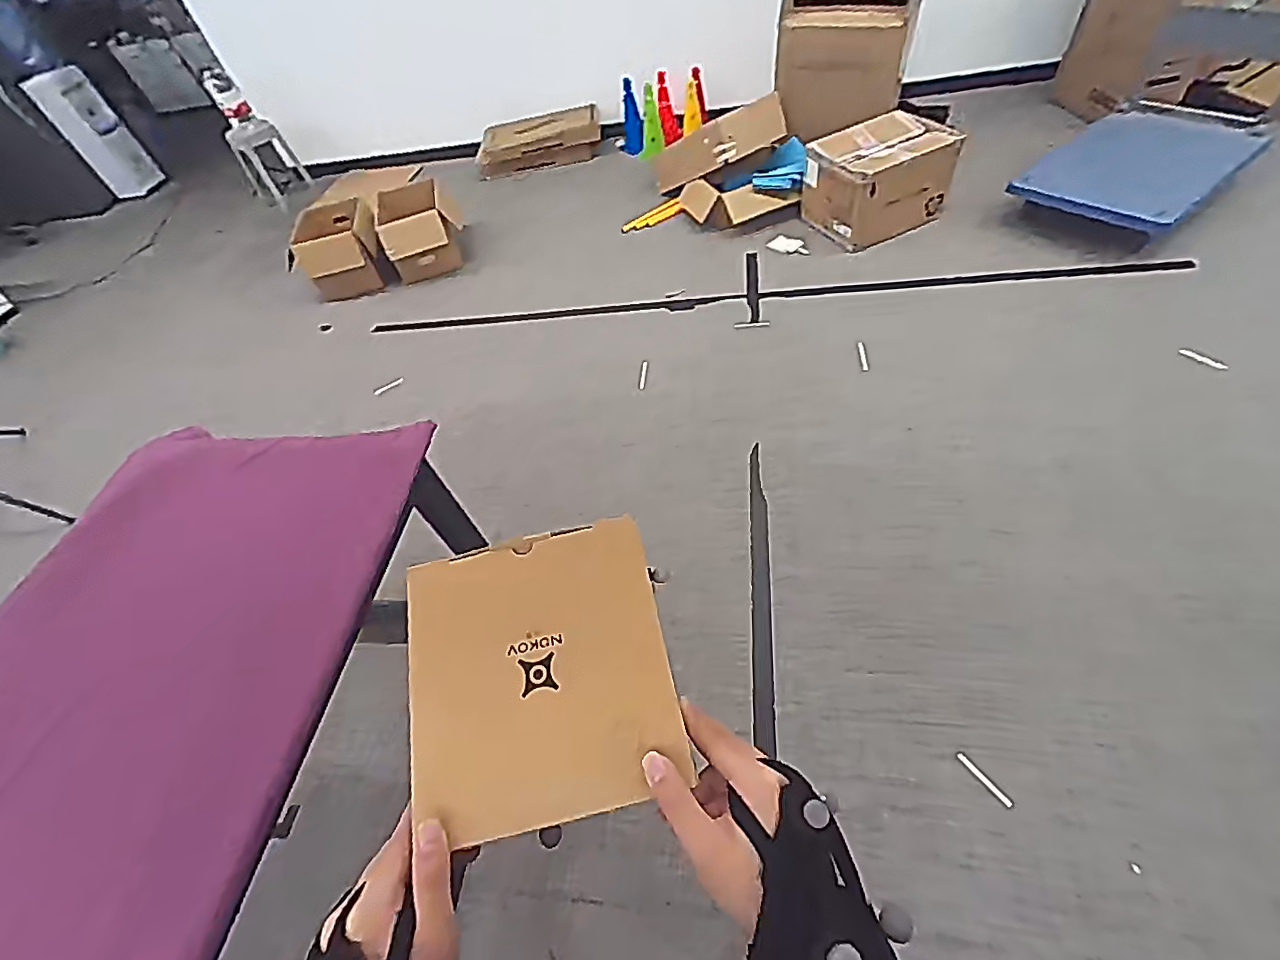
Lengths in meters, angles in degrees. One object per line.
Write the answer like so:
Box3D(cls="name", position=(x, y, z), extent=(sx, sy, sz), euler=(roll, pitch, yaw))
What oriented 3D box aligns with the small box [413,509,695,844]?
Box3D(cls="small box", position=(-0.056, 0.149, 0.416), extent=(0.168, 0.176, 0.179), euler=(-14, 61, -2))
